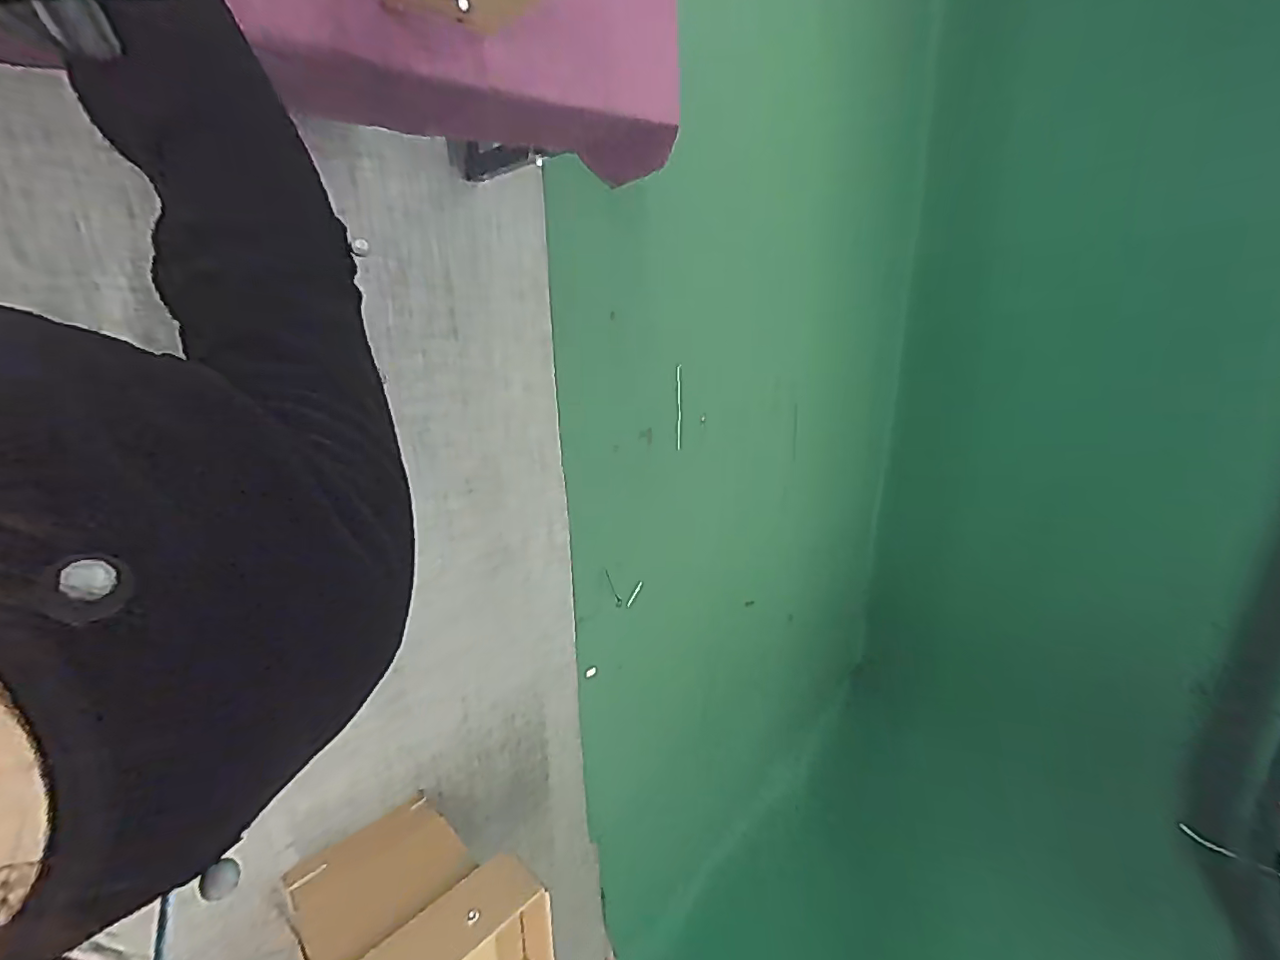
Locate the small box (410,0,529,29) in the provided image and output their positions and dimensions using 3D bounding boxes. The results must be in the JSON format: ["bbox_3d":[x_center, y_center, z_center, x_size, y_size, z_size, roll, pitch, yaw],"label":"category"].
[{"bbox_3d":[-0.212,-0.683,0.640,0.168,0.176,0.179,-21,115,-41],"label":"small box"}]
